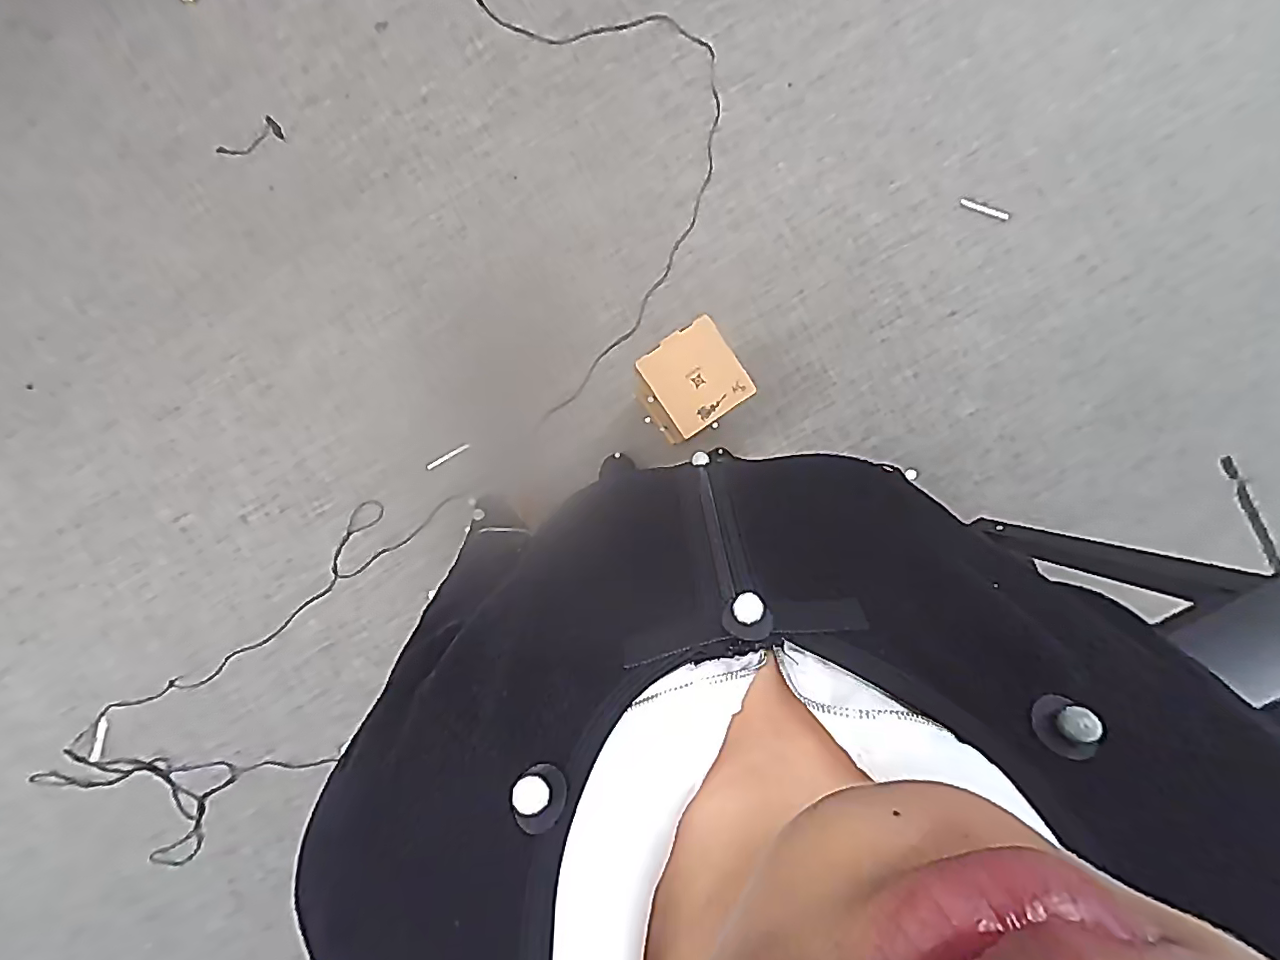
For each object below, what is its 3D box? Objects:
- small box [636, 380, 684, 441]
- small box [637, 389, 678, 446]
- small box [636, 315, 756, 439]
[{"bbox_3d":[0.108,-0.202,1.250,0.179,0.176,0.168,-37,93,1],"label":"small box"},{"bbox_3d":[0.105,-0.204,1.412,0.179,0.176,0.168,-34,92,3],"label":"small box"},{"bbox_3d":[0.104,-0.196,1.086,0.168,0.176,0.179,-34,92,2],"label":"small box"}]
